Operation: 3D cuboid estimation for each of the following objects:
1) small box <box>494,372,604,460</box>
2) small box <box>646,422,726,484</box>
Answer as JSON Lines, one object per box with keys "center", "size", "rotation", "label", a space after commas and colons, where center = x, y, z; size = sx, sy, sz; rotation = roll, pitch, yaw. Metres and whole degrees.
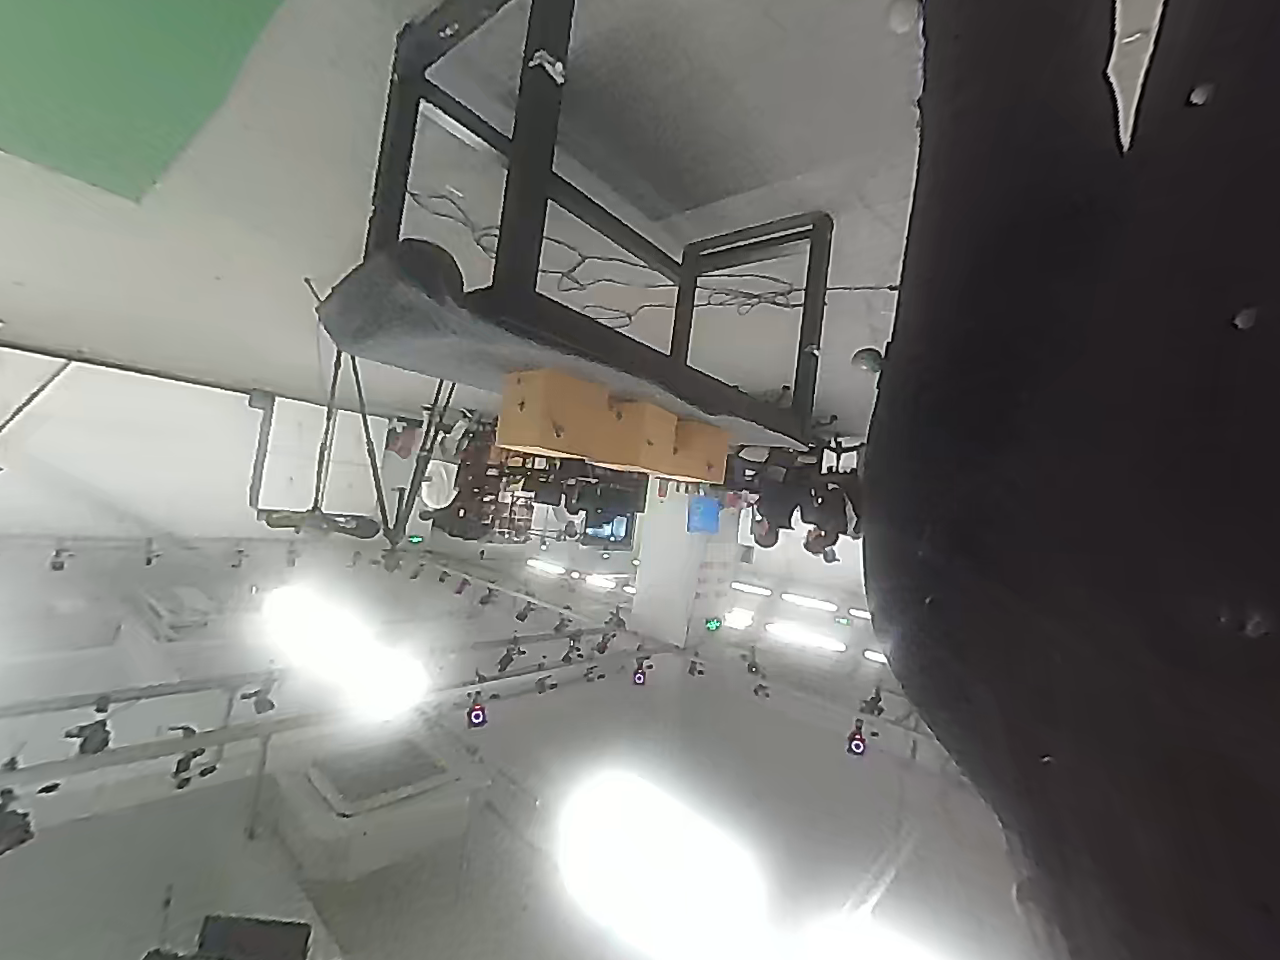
{"center": [-0.202, -0.142, 1.215], "size": [0.168, 0.176, 0.179], "rotation": [6, 177, 42], "label": "small box"}
{"center": [0.142, -0.082, 1.644], "size": [0.179, 0.176, 0.168], "rotation": [9, 177, -45], "label": "small box"}
